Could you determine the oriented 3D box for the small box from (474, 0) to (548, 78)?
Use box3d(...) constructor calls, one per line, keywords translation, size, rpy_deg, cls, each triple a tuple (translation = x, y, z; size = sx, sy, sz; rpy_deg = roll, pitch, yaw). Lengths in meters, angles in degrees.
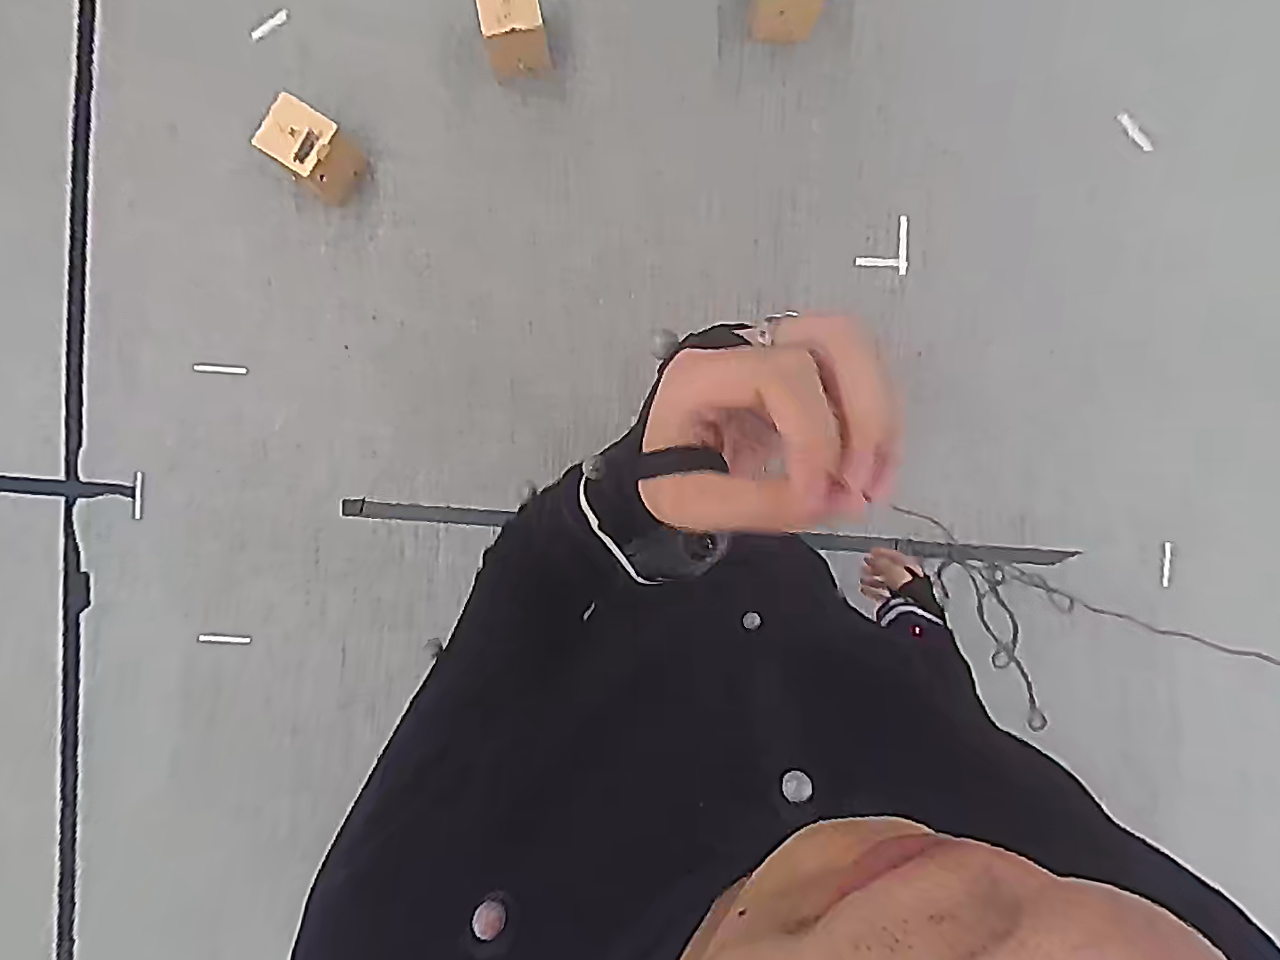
box3d(translation=(-0.363, -1.281, 1.513), size=(0.168, 0.176, 0.179), rpy_deg=(-12, 92, -1), cls="small box")
